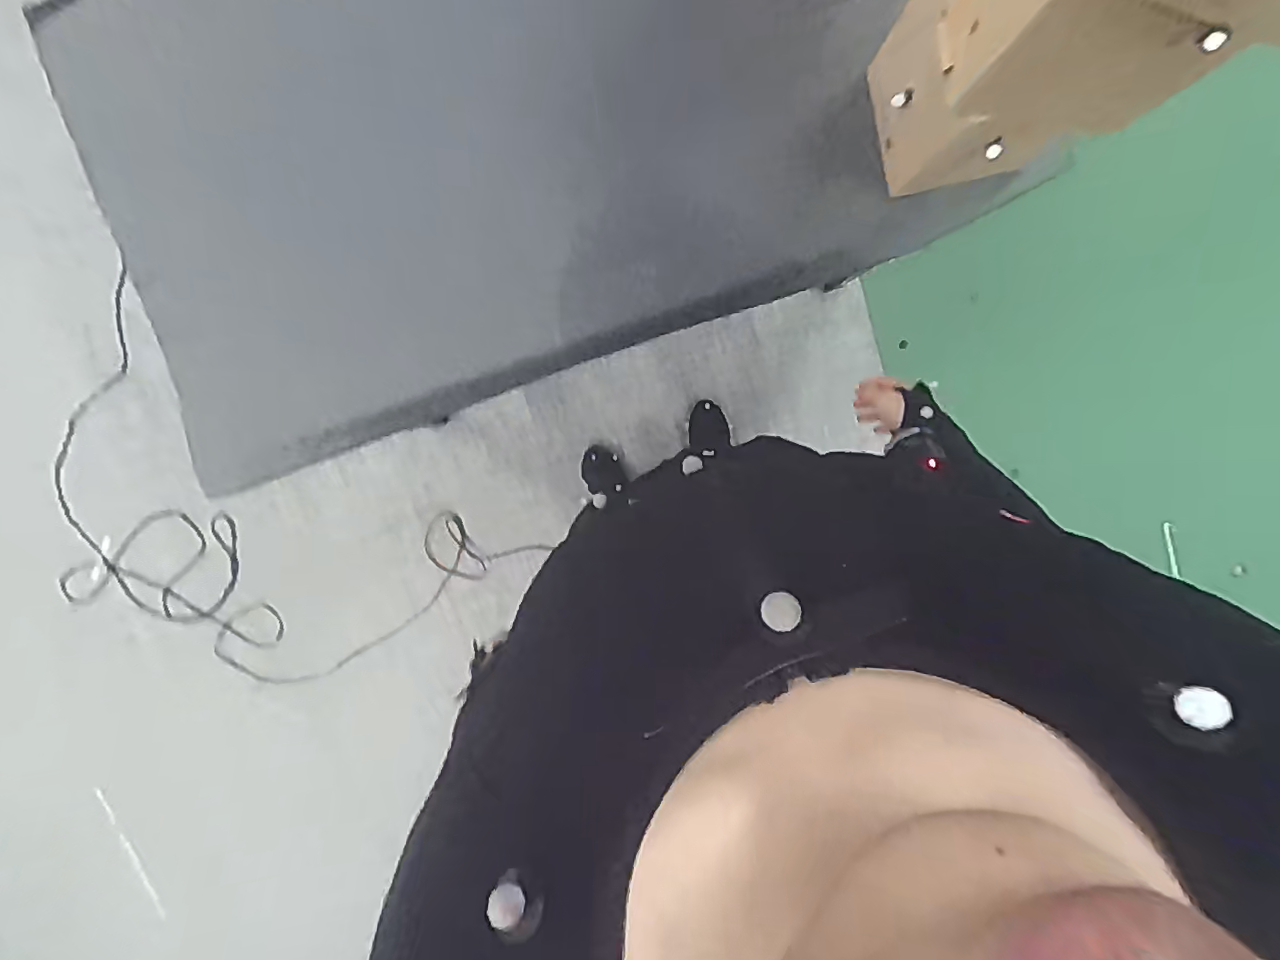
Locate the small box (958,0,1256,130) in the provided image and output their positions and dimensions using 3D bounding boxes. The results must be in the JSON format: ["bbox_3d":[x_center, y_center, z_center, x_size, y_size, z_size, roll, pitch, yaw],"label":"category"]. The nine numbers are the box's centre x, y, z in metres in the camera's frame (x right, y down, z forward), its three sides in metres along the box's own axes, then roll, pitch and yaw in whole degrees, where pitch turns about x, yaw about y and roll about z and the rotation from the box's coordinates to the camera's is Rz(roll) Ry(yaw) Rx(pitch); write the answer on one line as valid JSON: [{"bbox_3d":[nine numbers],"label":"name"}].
[{"bbox_3d":[0.403,-0.426,0.448,0.179,0.176,0.168,9,94,-1],"label":"small box"}]

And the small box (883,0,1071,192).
[{"bbox_3d":[0.396,-0.455,0.610,0.179,0.176,0.168,-12,94,2],"label":"small box"}]
